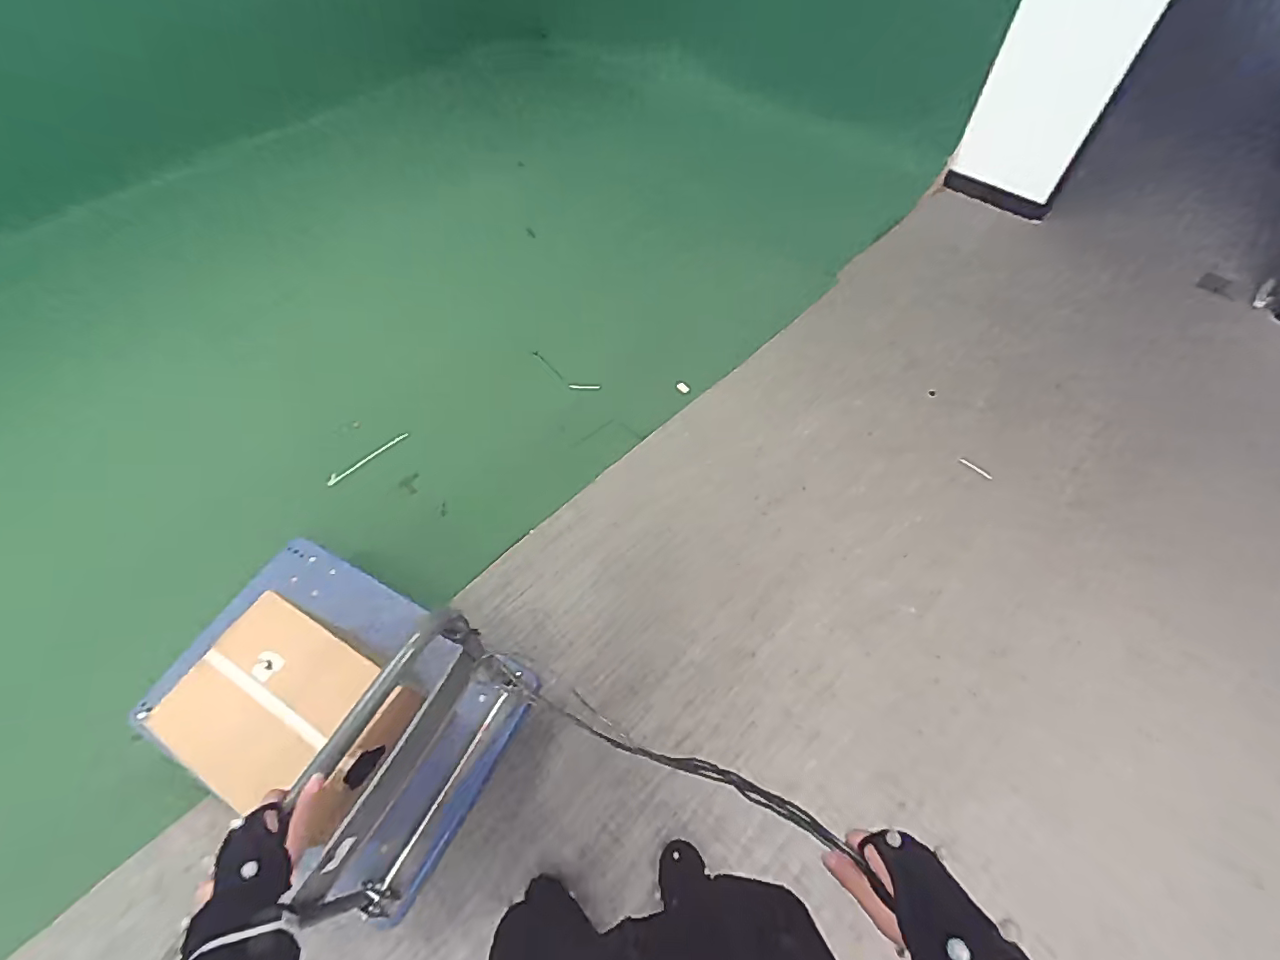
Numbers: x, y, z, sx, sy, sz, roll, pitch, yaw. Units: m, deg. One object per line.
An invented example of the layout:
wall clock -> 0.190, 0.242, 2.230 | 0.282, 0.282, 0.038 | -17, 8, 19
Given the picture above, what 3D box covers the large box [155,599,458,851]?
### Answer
large box -> -0.689, 0.528, 1.180 | 0.408, 0.320, 0.320 | 26, 63, 18
